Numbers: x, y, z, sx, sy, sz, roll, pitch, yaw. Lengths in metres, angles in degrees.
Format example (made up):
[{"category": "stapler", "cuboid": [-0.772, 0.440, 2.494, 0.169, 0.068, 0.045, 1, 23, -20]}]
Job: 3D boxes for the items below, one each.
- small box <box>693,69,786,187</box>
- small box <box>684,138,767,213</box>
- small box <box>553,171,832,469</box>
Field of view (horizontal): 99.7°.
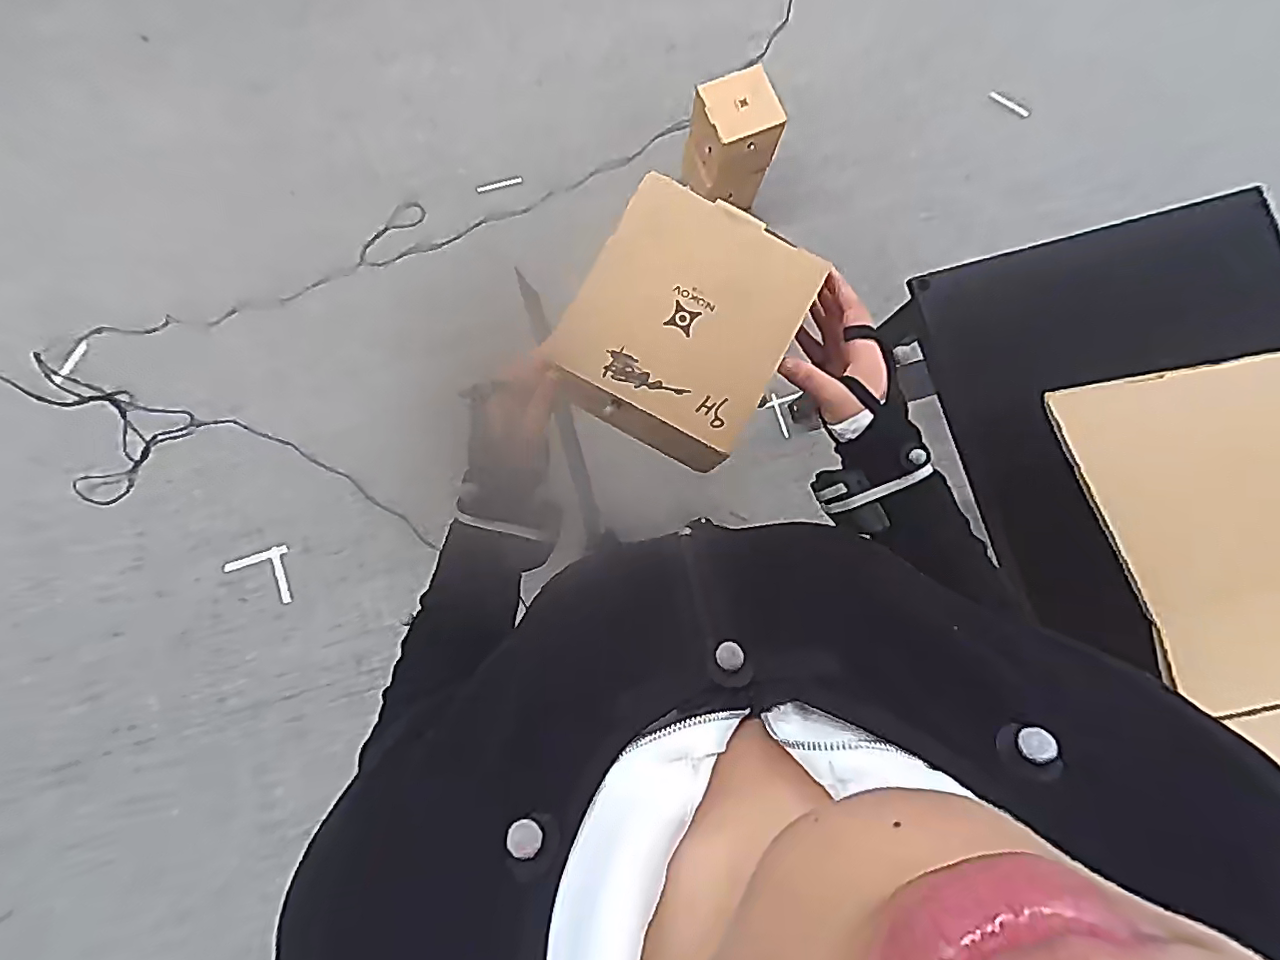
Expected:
[{"category": "small box", "cuboid": [0.248, -0.902, 1.402, 0.179, 0.176, 0.168, -23, 85, -5]}, {"category": "small box", "cuboid": [0.239, -0.879, 1.563, 0.179, 0.176, 0.168, -20, 84, -3]}, {"category": "small box", "cuboid": [0.042, -0.128, 0.502, 0.168, 0.176, 0.179, 28, 85, 4]}]
